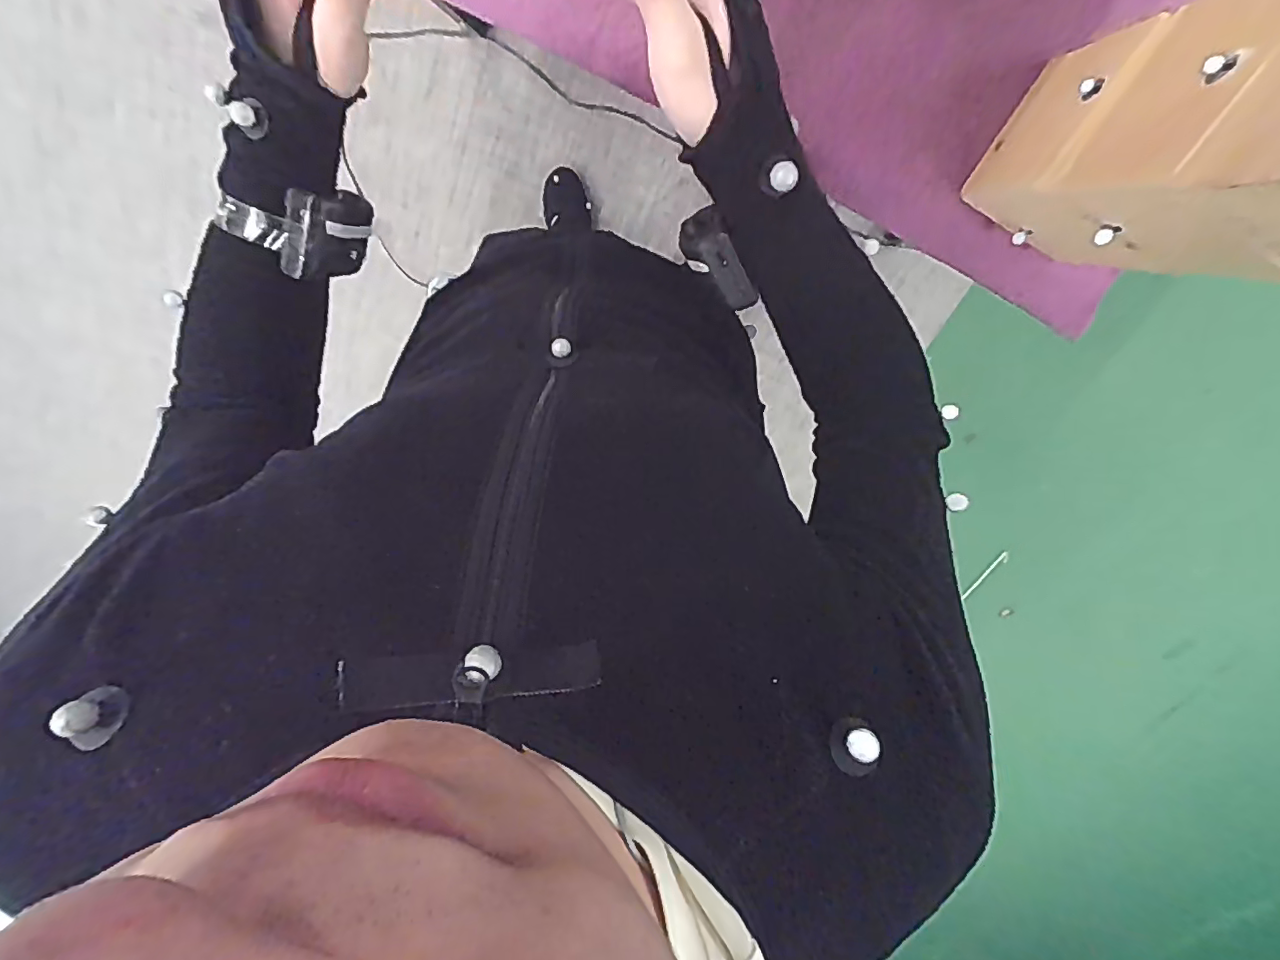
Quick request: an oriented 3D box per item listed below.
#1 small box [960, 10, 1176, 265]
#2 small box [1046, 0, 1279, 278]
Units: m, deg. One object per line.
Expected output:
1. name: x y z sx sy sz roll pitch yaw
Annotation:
1. small box: 0.522 -0.372 0.617 0.179 0.176 0.168 26 114 -10
2. small box: 0.519 -0.302 0.470 0.168 0.176 0.179 27 115 -9
